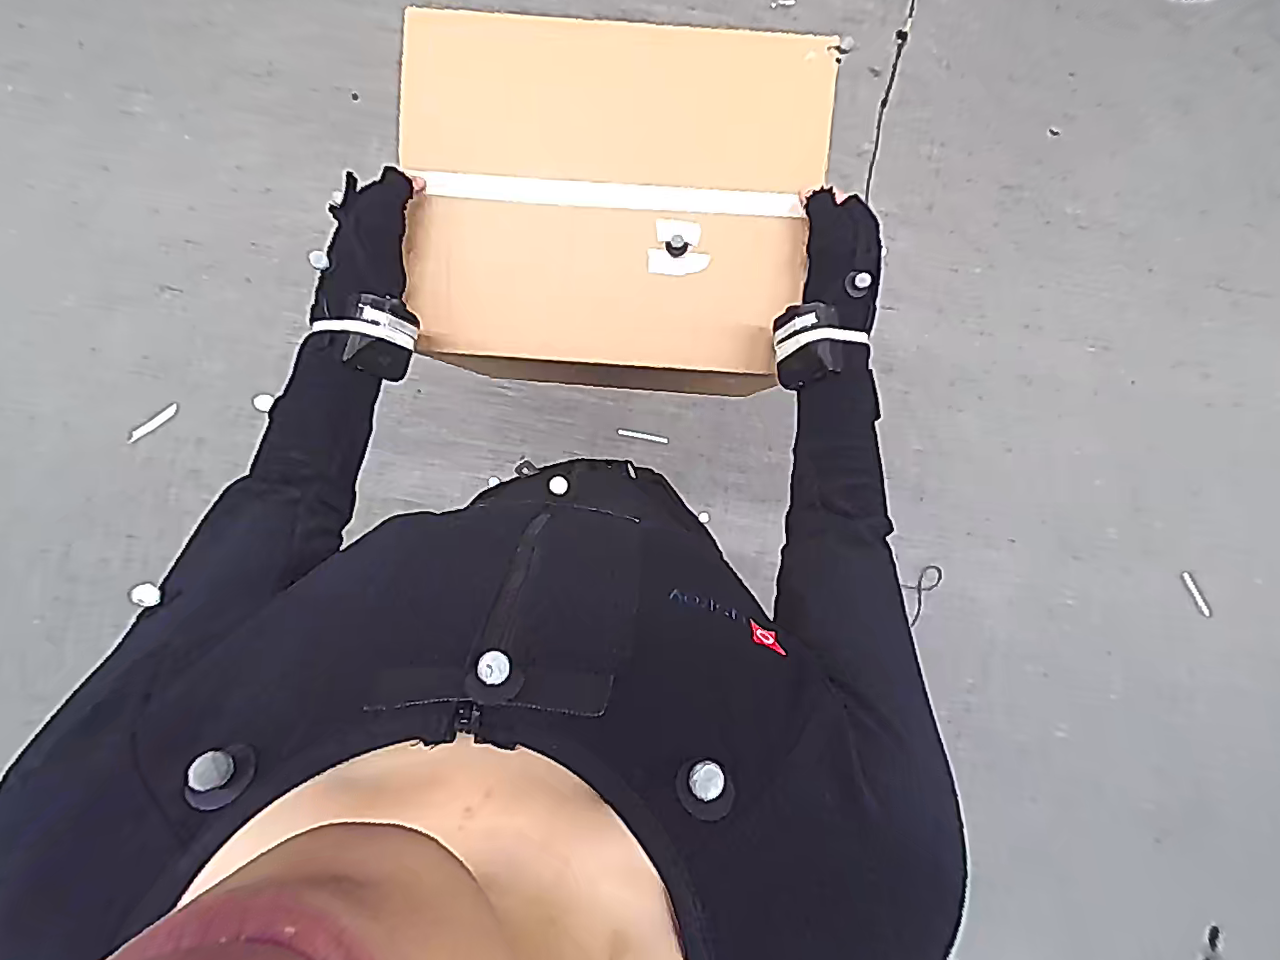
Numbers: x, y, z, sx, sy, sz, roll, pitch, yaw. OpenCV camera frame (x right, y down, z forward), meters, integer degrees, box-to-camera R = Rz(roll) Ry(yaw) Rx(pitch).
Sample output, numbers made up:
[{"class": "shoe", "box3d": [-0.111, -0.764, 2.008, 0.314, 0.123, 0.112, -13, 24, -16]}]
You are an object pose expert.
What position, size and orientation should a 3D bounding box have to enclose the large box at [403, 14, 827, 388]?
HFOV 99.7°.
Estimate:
[{"class": "large box", "box3d": [-0.030, -0.289, 0.669, 0.408, 0.320, 0.320, 4, 96, 0]}]
